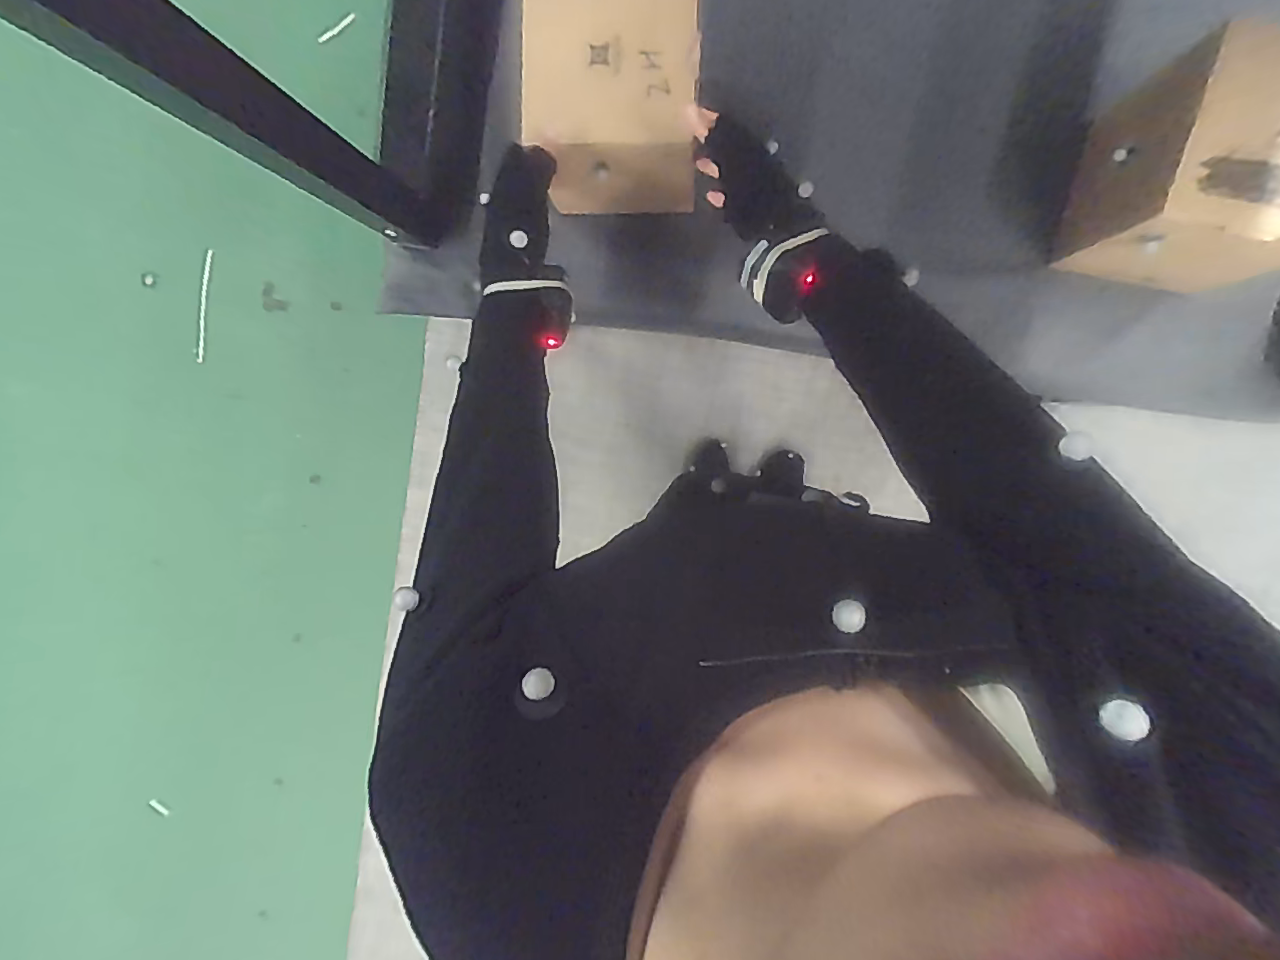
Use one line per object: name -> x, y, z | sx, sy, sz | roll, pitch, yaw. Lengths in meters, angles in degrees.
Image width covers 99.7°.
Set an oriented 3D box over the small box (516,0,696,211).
small box -> -0.029, -0.420, 0.610 | 0.179, 0.176, 0.168 | 2, 96, 5
